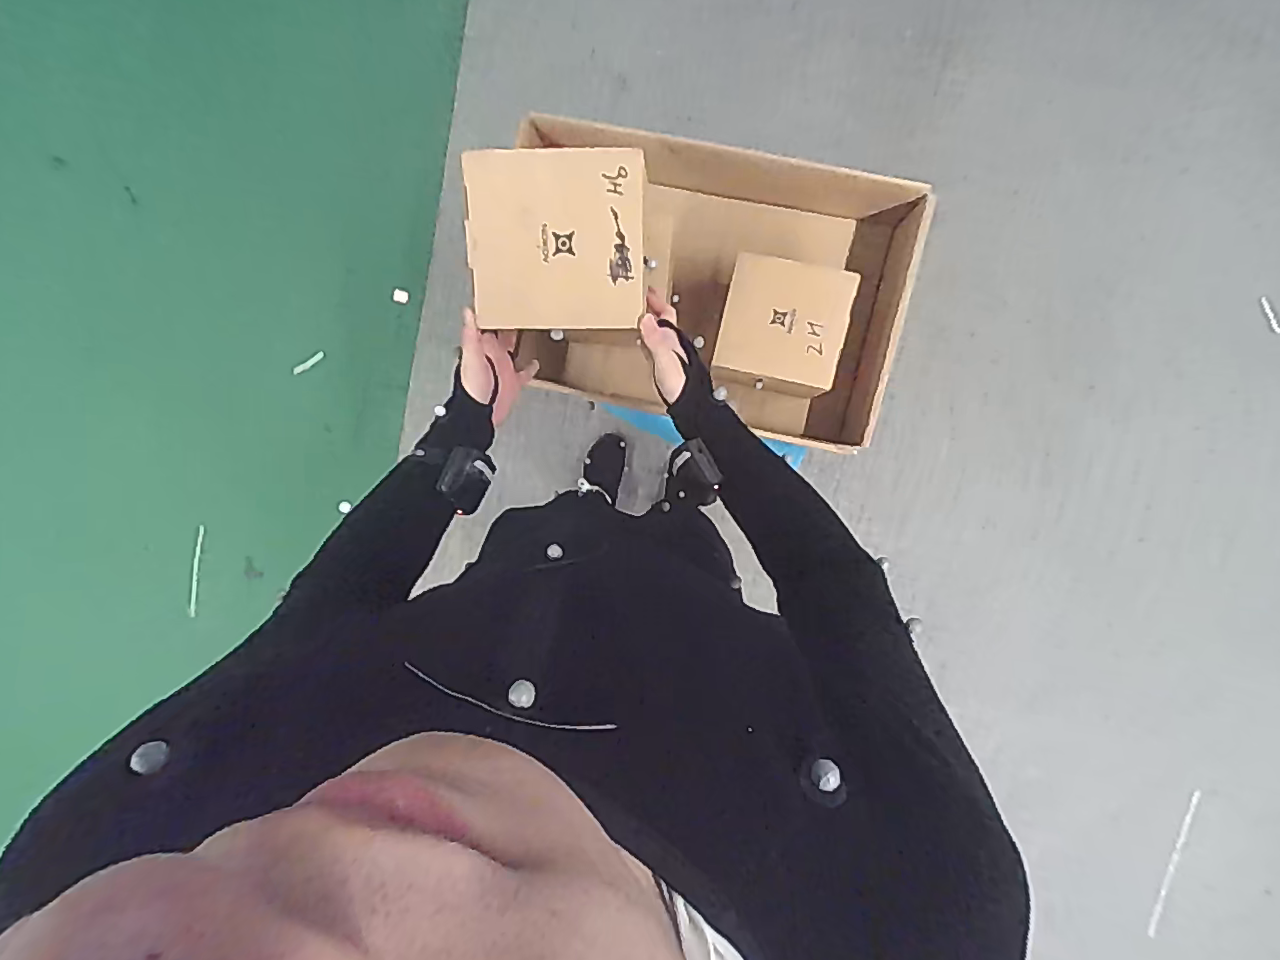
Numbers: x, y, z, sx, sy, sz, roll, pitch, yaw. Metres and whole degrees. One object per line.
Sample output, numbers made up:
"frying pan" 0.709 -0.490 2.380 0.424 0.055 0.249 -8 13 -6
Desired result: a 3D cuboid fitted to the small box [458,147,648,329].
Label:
"small box" -0.083 -0.256 0.605 0.179 0.176 0.168 1 107 3
